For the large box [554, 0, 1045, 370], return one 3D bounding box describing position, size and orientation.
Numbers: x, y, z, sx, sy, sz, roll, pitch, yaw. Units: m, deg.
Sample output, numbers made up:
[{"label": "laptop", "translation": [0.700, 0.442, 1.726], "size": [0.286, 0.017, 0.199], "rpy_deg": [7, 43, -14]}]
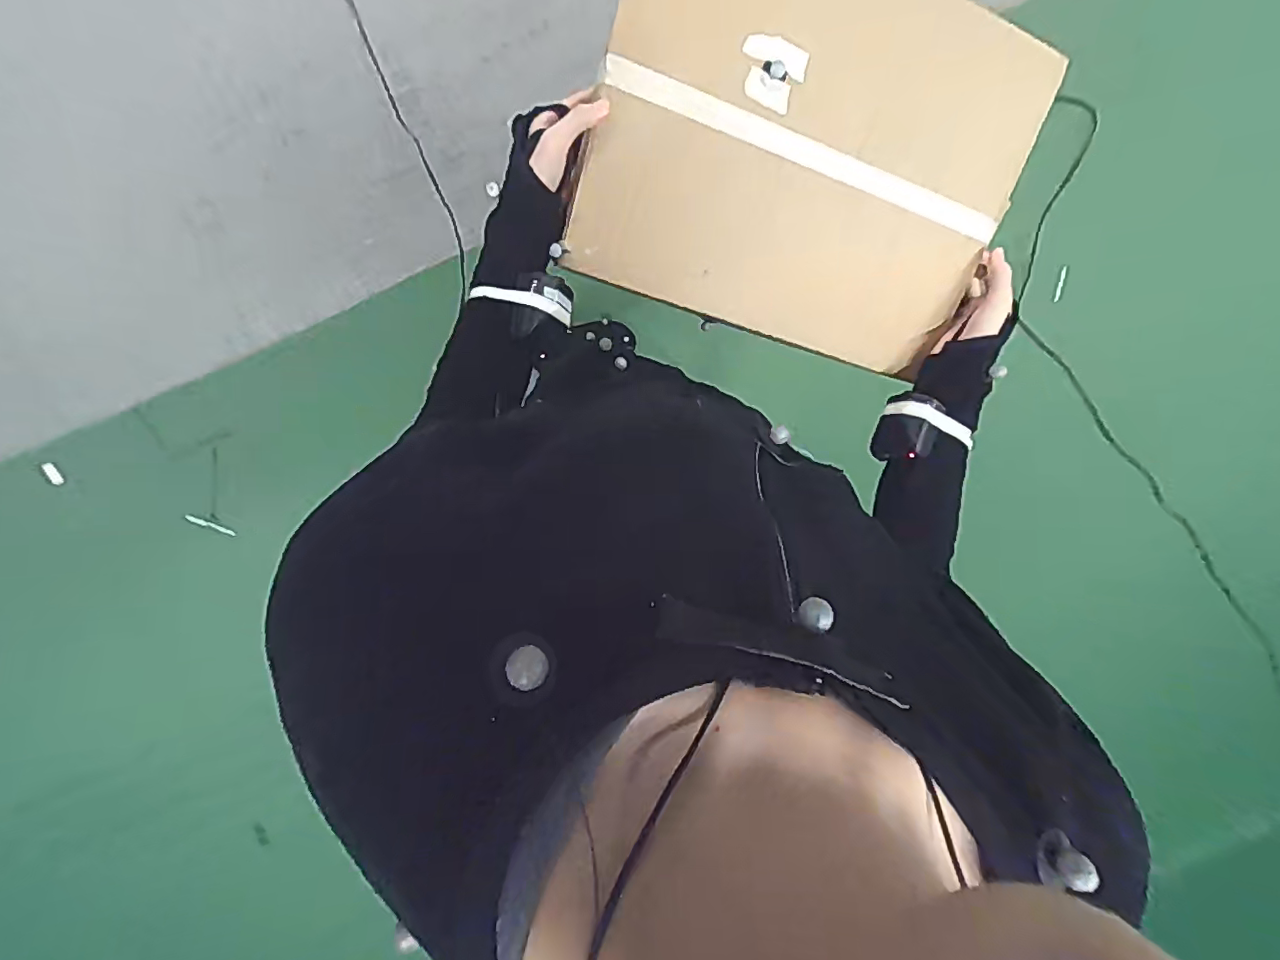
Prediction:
[{"label": "large box", "translation": [0.130, -0.355, 0.643], "size": [0.408, 0.320, 0.320], "rpy_deg": [13, 109, -14]}]
